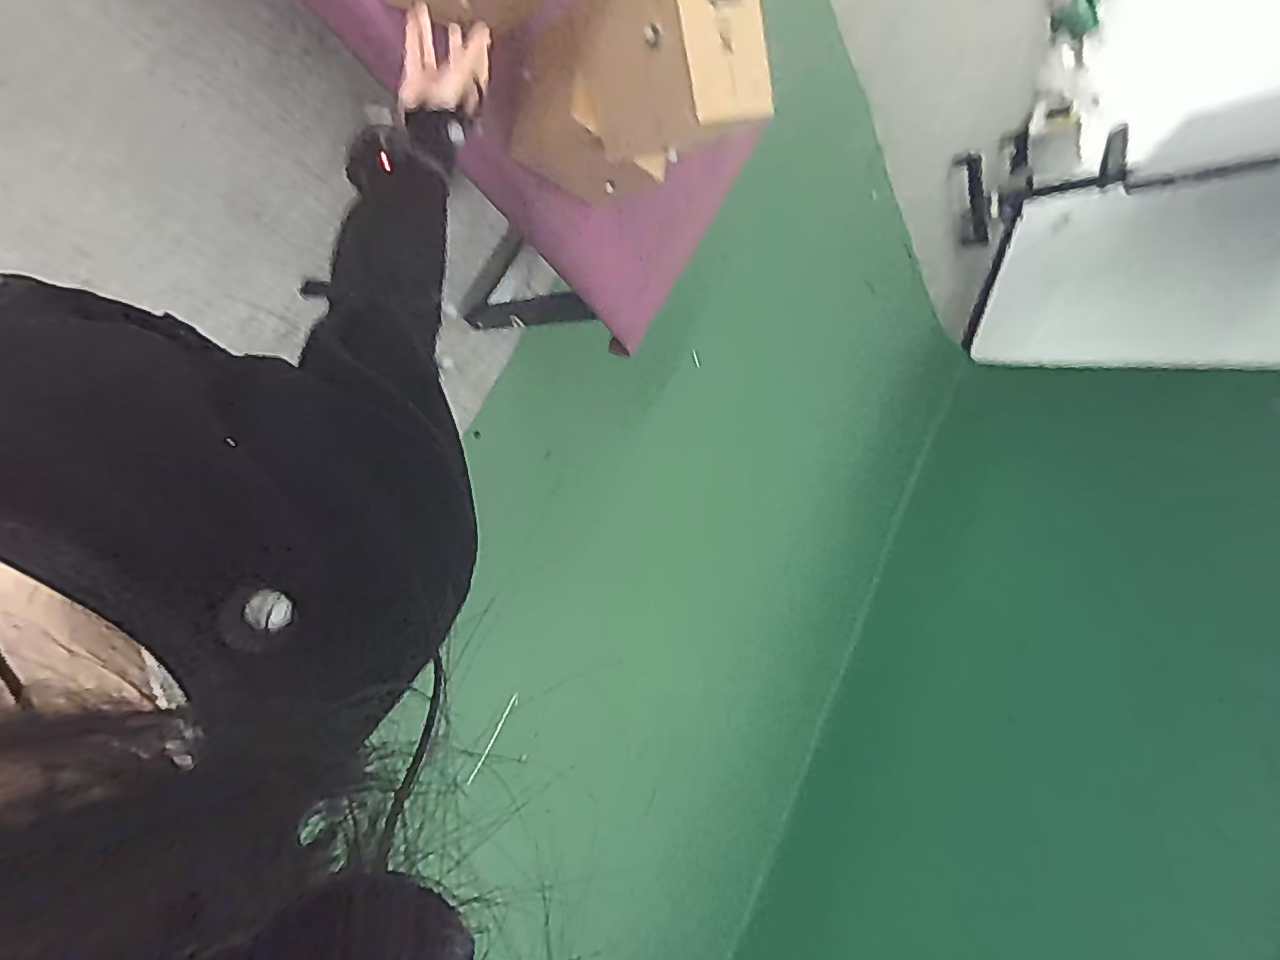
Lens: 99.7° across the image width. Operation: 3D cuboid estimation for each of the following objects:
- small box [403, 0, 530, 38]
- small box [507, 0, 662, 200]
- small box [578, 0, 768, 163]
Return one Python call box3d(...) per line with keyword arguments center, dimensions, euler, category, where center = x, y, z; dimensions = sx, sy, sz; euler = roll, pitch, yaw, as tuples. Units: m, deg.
box3d(center=(-0.218, -0.688, 0.653), dimensions=(0.168, 0.176, 0.179), euler=(-13, 107, -42), category="small box")
box3d(center=(-0.074, -0.553, 0.823), dimensions=(0.179, 0.176, 0.168), euler=(9, 91, -44), category="small box")
box3d(center=(0.042, -0.541, 0.708), dimensions=(0.168, 0.176, 0.179), euler=(-33, 120, -36), category="small box")
